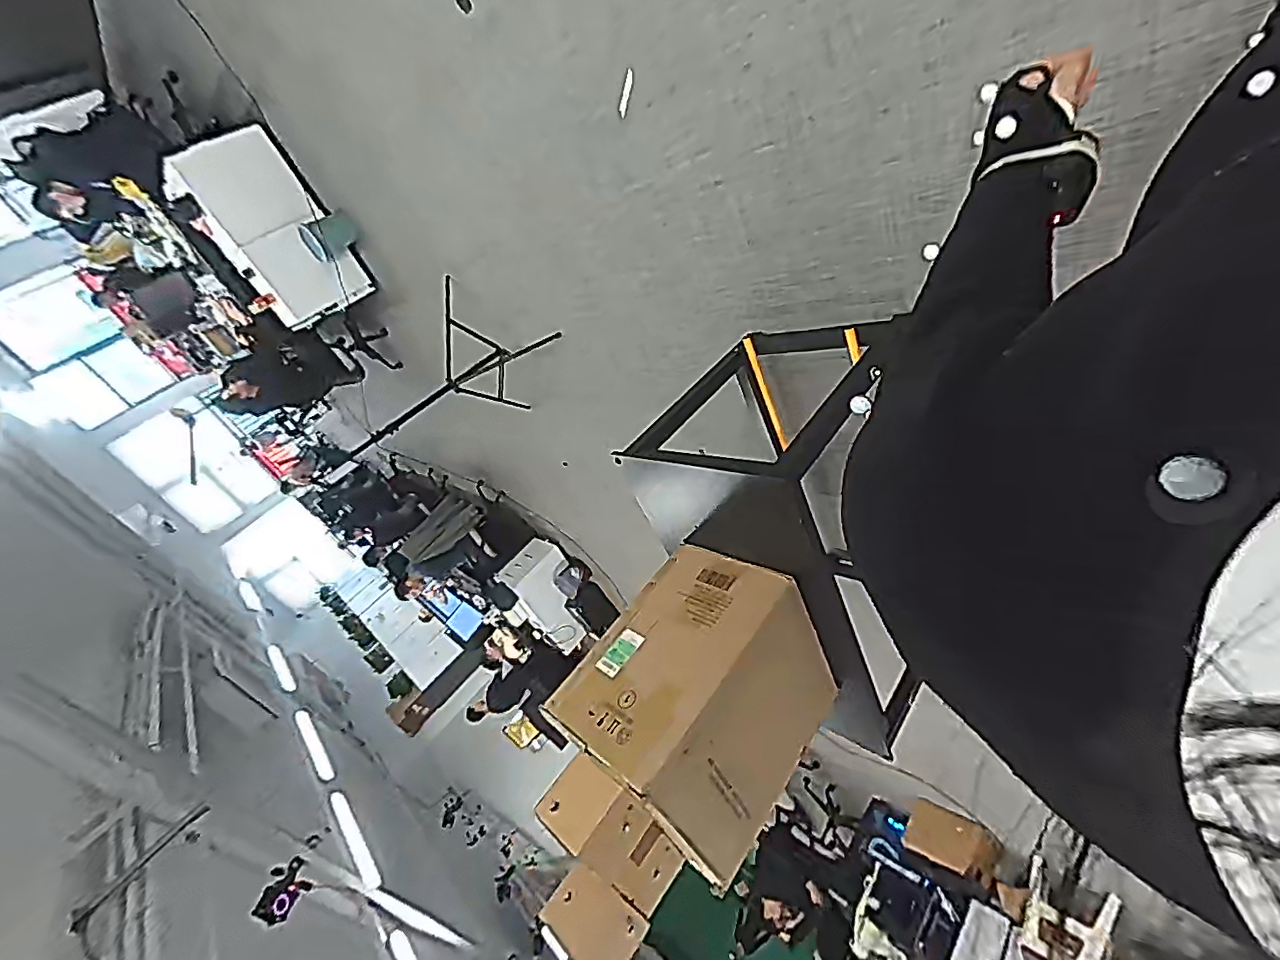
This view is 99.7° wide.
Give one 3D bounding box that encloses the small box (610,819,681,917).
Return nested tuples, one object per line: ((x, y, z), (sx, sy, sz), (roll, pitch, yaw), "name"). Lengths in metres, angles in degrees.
((-0.014, 0.987, 1.429), (0.179, 0.176, 0.168), (9, 136, 48), "small box")

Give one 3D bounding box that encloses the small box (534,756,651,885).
((-0.108, 0.785, 1.268), (0.179, 0.176, 0.168), (11, 140, 47), "small box")

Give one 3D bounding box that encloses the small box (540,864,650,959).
((-0.109, 1.093, 1.346), (0.179, 0.176, 0.168), (9, 137, 49), "small box")
